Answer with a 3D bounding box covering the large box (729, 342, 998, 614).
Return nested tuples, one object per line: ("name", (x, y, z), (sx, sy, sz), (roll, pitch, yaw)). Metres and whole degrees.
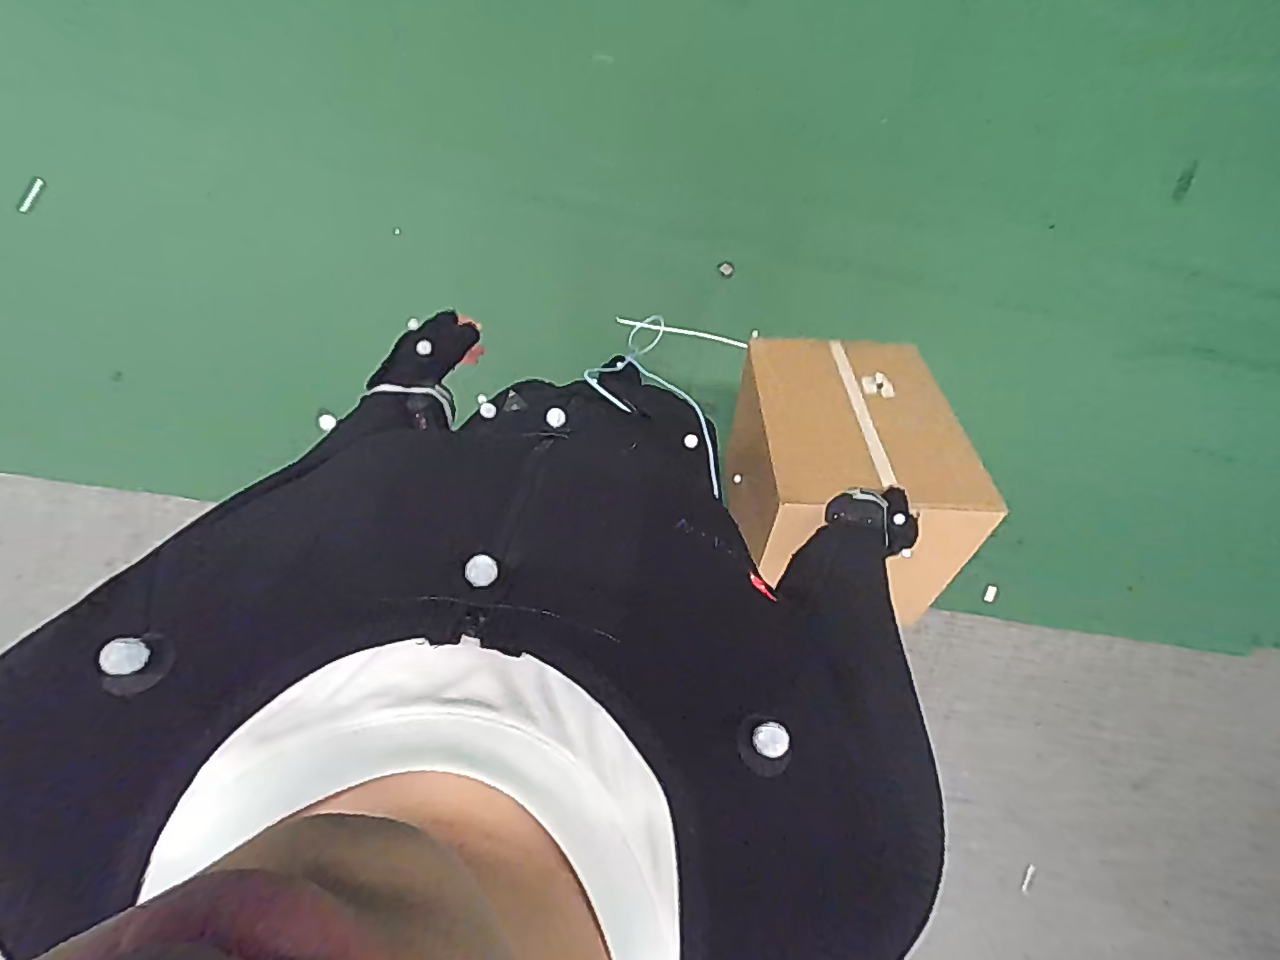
("large box", (0.350, -0.005, 0.991), (0.320, 0.408, 0.320), (3, 137, -1))
